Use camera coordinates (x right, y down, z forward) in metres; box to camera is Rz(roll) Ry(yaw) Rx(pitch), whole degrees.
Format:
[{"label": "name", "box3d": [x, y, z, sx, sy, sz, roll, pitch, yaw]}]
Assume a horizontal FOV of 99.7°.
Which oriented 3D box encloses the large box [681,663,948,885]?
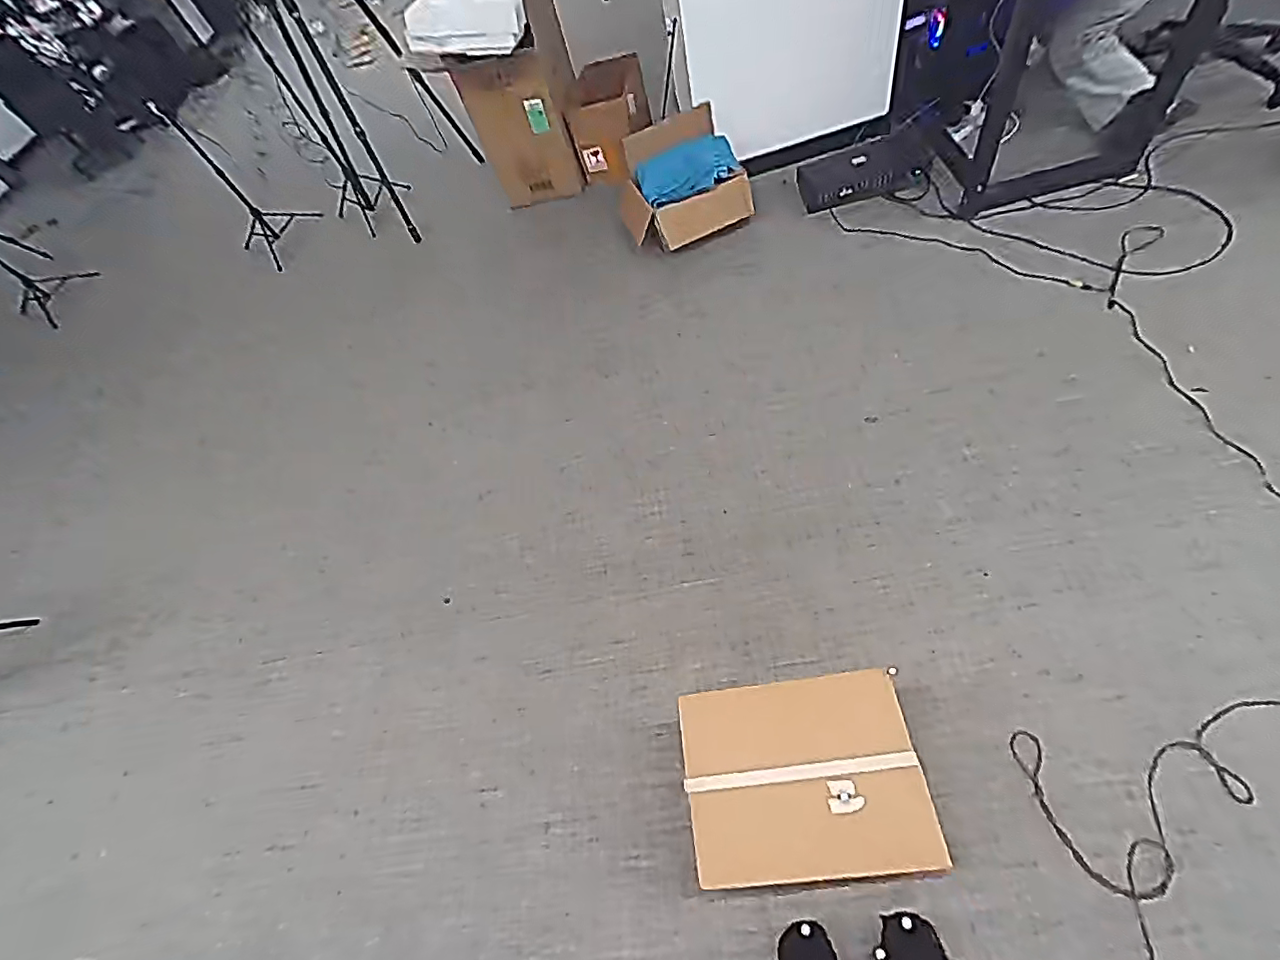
[{"label": "large box", "box3d": [0.318, 0.592, 1.089, 0.408, 0.320, 0.320, -11, 57, 8]}]
